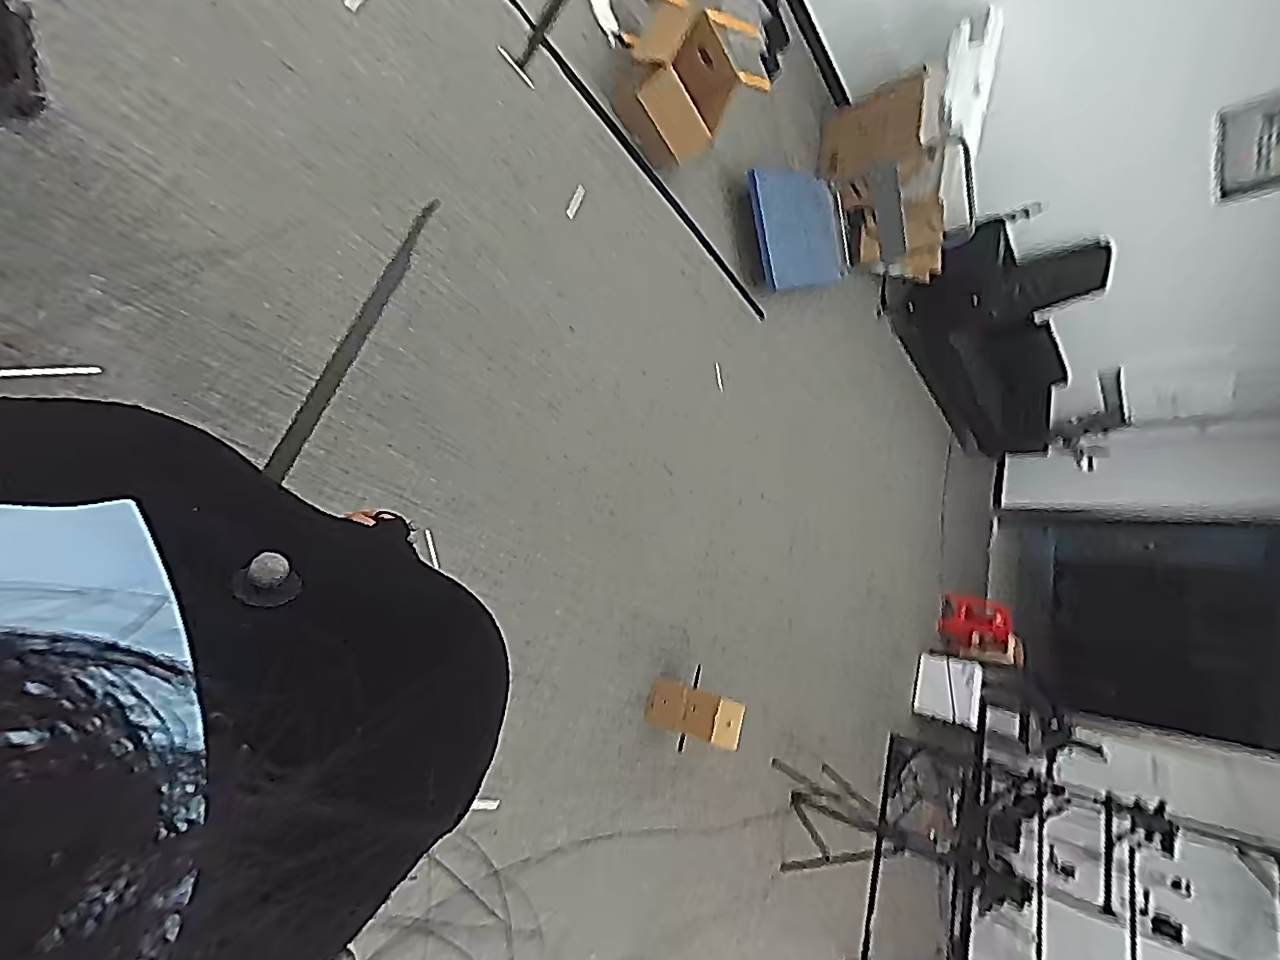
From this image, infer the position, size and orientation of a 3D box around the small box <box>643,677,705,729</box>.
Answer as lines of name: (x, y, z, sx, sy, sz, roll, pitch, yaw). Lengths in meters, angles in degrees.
small box: (0.138, 0.911, 2.193, 0.179, 0.176, 0.168, 32, 66, -41)

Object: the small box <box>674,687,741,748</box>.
small box: (0.259, 0.913, 2.084, 0.179, 0.176, 0.168, 34, 65, -39)
